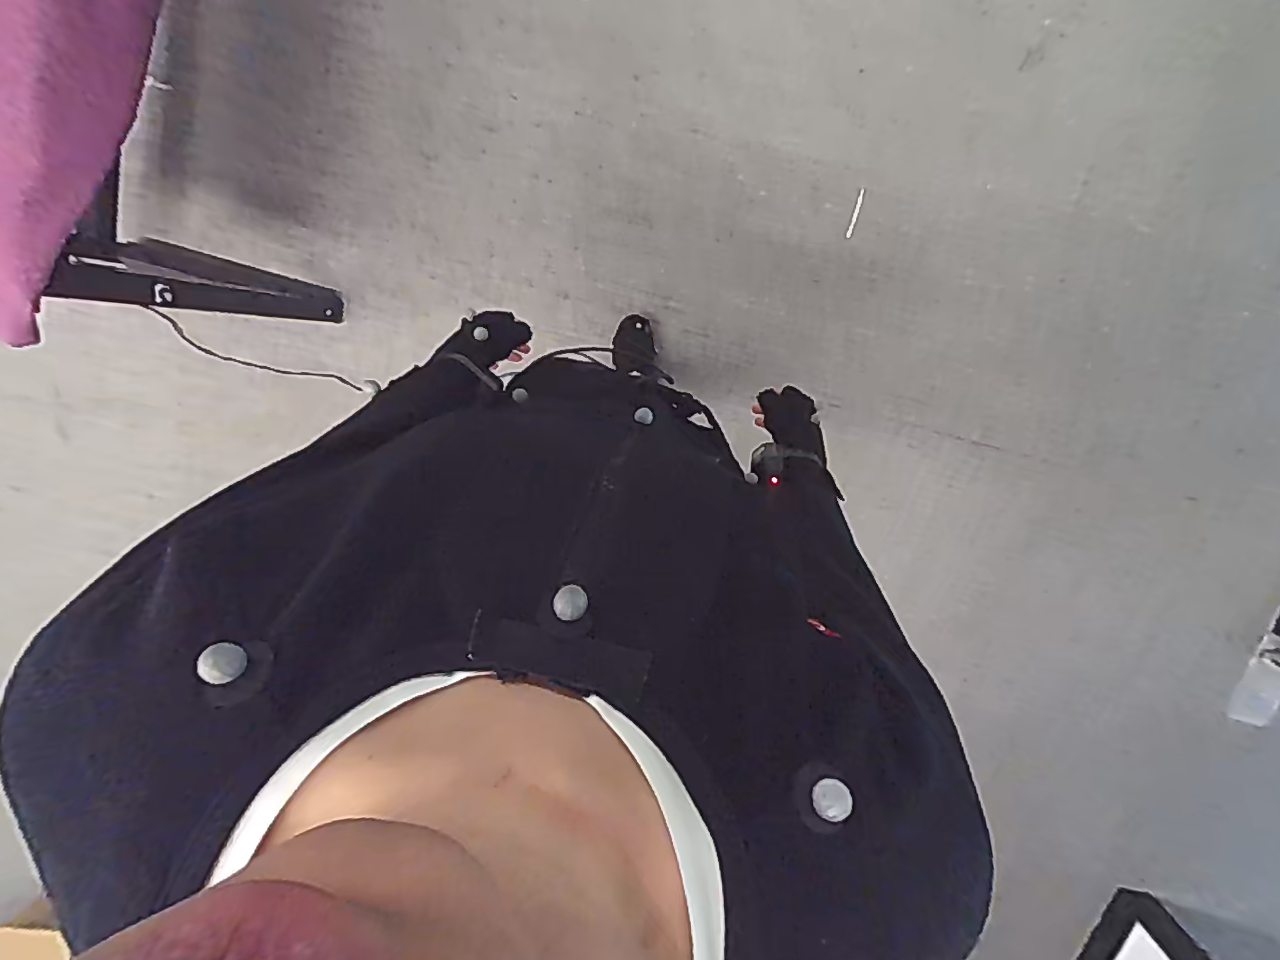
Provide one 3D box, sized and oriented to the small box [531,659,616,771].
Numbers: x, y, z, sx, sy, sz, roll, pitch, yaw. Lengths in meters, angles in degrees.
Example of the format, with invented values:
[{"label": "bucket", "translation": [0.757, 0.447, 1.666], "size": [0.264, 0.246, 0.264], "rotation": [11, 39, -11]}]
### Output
[{"label": "small box", "translation": [-0.162, 0.590, 1.372], "size": [0.168, 0.176, 0.179], "rotation": [15, 104, 0]}]
